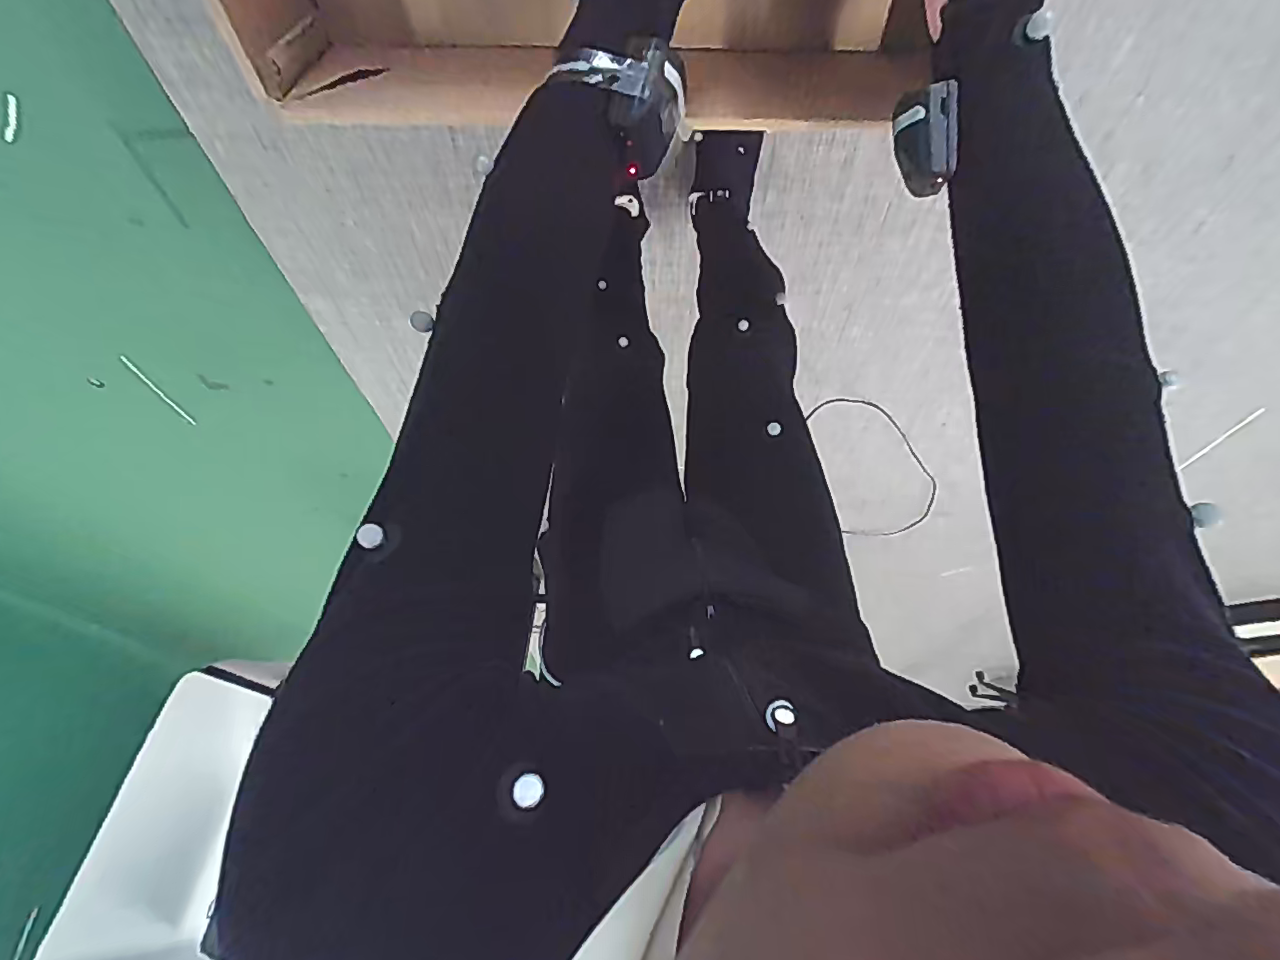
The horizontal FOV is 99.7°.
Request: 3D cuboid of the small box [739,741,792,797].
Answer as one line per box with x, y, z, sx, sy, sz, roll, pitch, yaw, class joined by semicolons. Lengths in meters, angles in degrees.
0.472;1.092;2.042;0.179;0.176;0.168;-6;144;16;small box
